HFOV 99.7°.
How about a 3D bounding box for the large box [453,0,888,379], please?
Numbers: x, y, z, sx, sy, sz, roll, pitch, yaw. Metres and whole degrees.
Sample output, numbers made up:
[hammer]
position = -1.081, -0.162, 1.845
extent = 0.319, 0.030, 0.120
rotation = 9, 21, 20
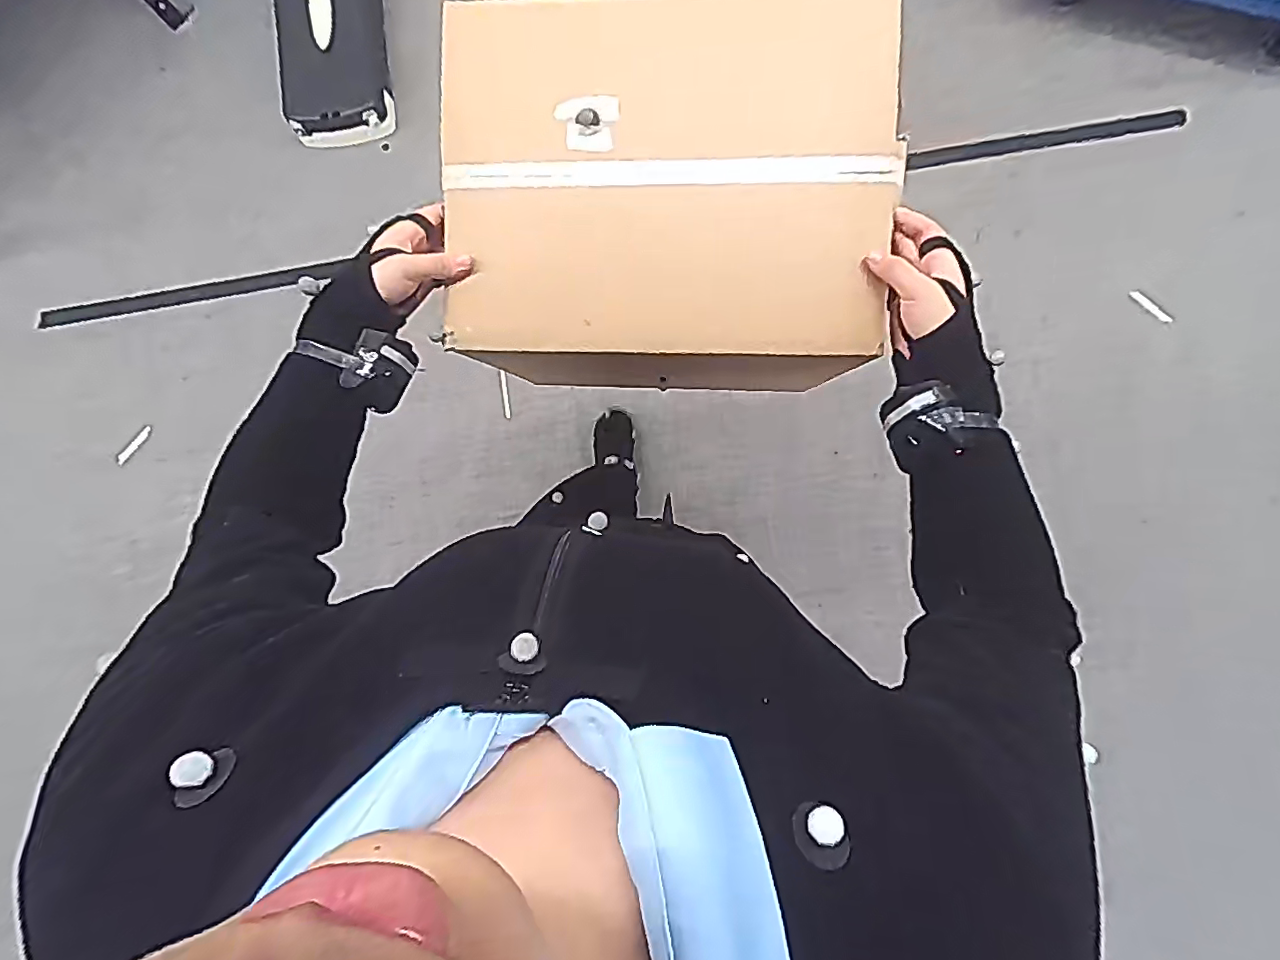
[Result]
[large box]
position = 0.036, -0.291, 0.646
extent = 0.408, 0.320, 0.320
rotation = 2, 93, 6
